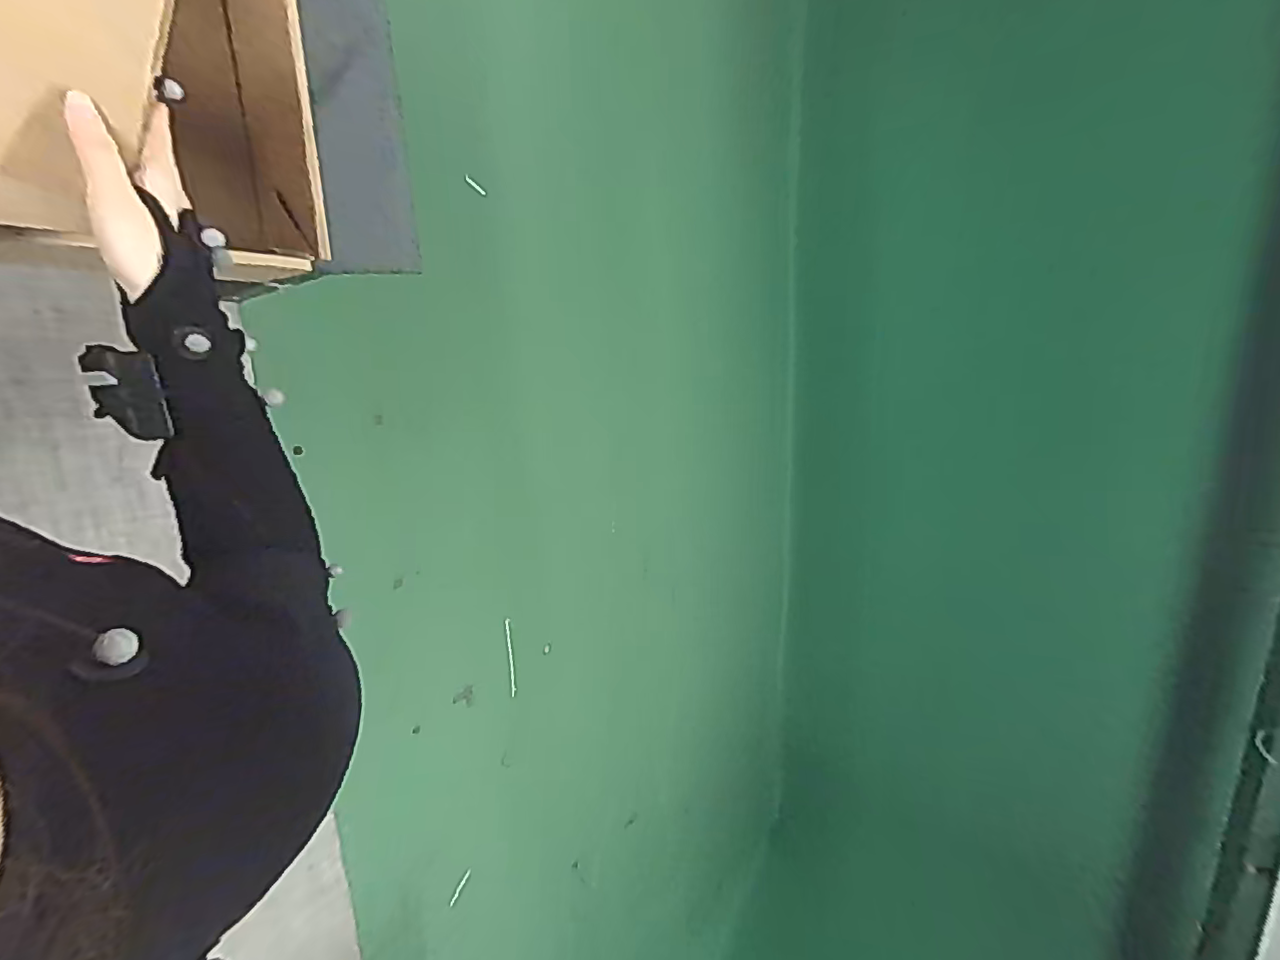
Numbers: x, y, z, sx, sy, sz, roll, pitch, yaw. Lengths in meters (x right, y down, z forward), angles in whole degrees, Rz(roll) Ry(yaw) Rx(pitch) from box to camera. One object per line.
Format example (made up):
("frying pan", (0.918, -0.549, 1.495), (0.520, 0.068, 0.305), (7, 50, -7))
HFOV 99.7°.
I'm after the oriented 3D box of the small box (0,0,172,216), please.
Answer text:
("small box", (-0.398, -0.301, 0.323), (0.168, 0.176, 0.179), (11, 119, -45))
